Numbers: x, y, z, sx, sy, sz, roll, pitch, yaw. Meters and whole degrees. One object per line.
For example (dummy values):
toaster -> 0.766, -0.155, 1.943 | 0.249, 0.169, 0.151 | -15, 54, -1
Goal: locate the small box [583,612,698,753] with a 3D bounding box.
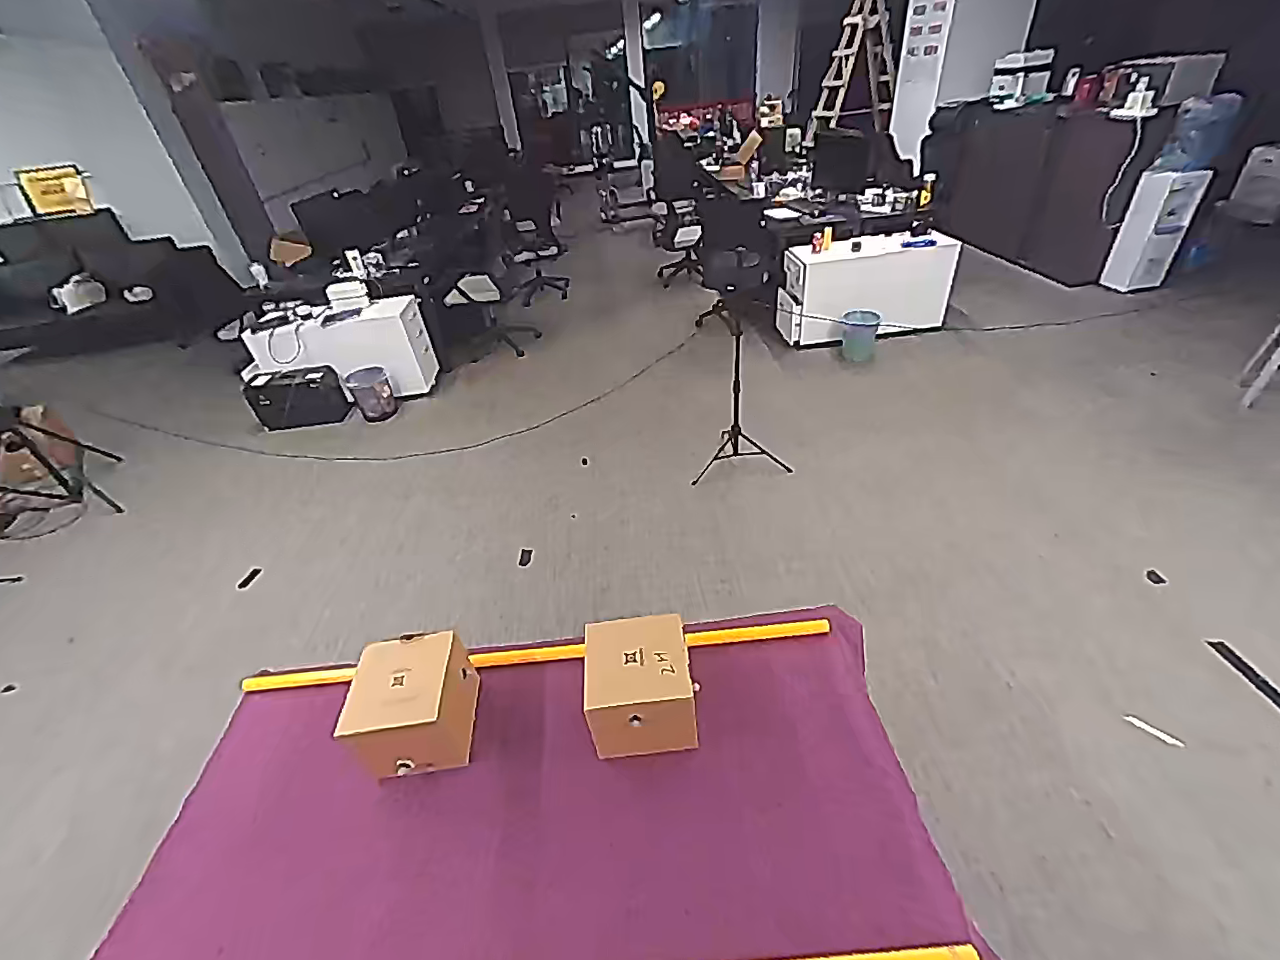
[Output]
small box -> 0.002, 0.359, 0.951 | 0.179, 0.176, 0.168 | -7, 38, 1

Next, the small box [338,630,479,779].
small box -> -0.397, 0.399, 0.966 | 0.168, 0.176, 0.179 | -9, 38, -1
